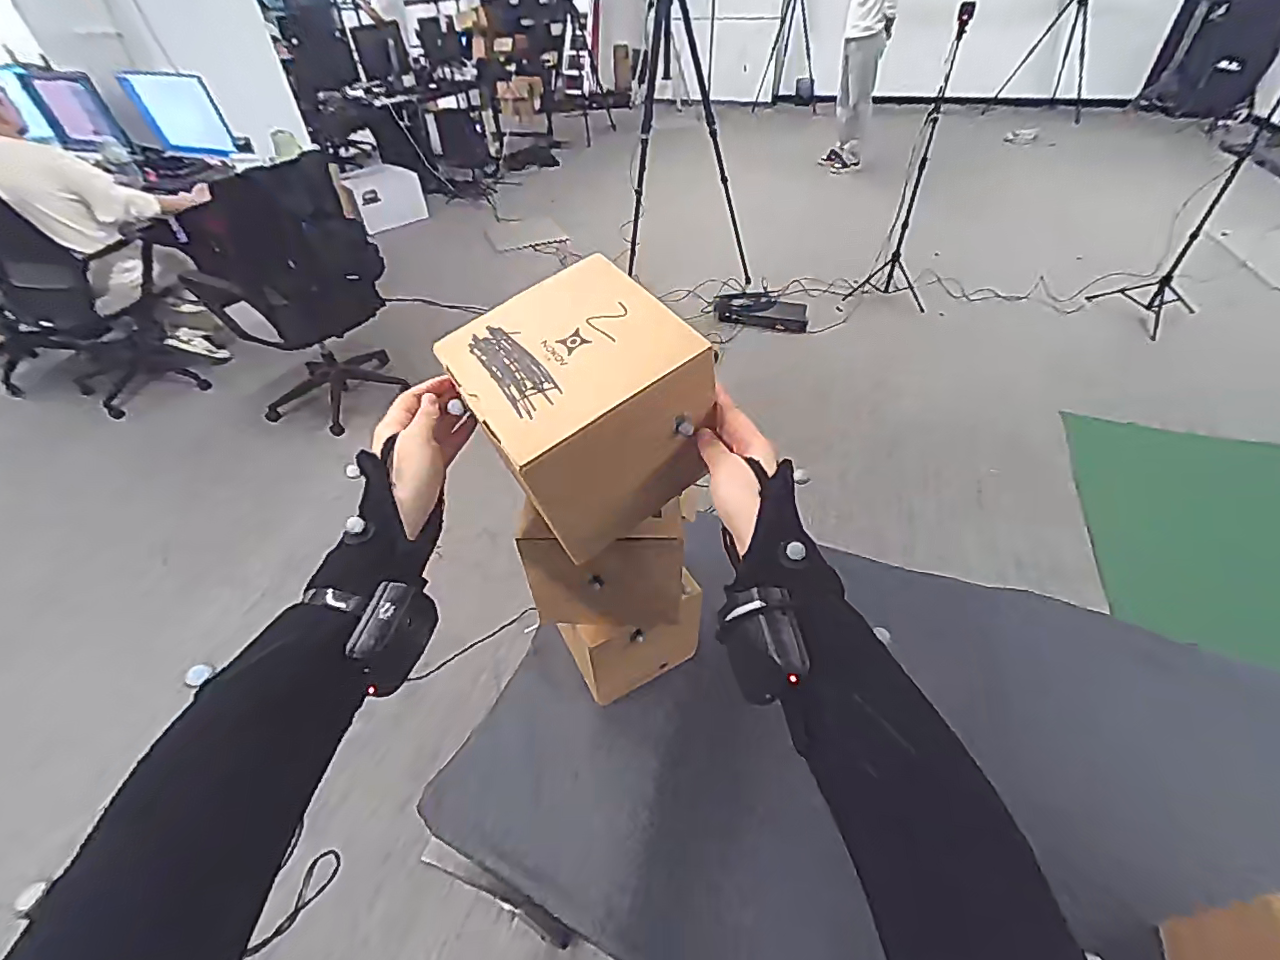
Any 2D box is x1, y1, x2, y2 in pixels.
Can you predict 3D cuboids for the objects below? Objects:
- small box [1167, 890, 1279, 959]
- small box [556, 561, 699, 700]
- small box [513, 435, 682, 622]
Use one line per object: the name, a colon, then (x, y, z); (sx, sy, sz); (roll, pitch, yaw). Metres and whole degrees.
small box: (0.581, 0.477, 0.429); (0.168, 0.176, 0.179); (13, 45, 17)
small box: (-0.031, 0.178, 0.782); (0.168, 0.176, 0.179); (-23, 47, -19)
small box: (-0.039, 0.061, 0.665); (0.179, 0.176, 0.168); (-1, 44, 3)
